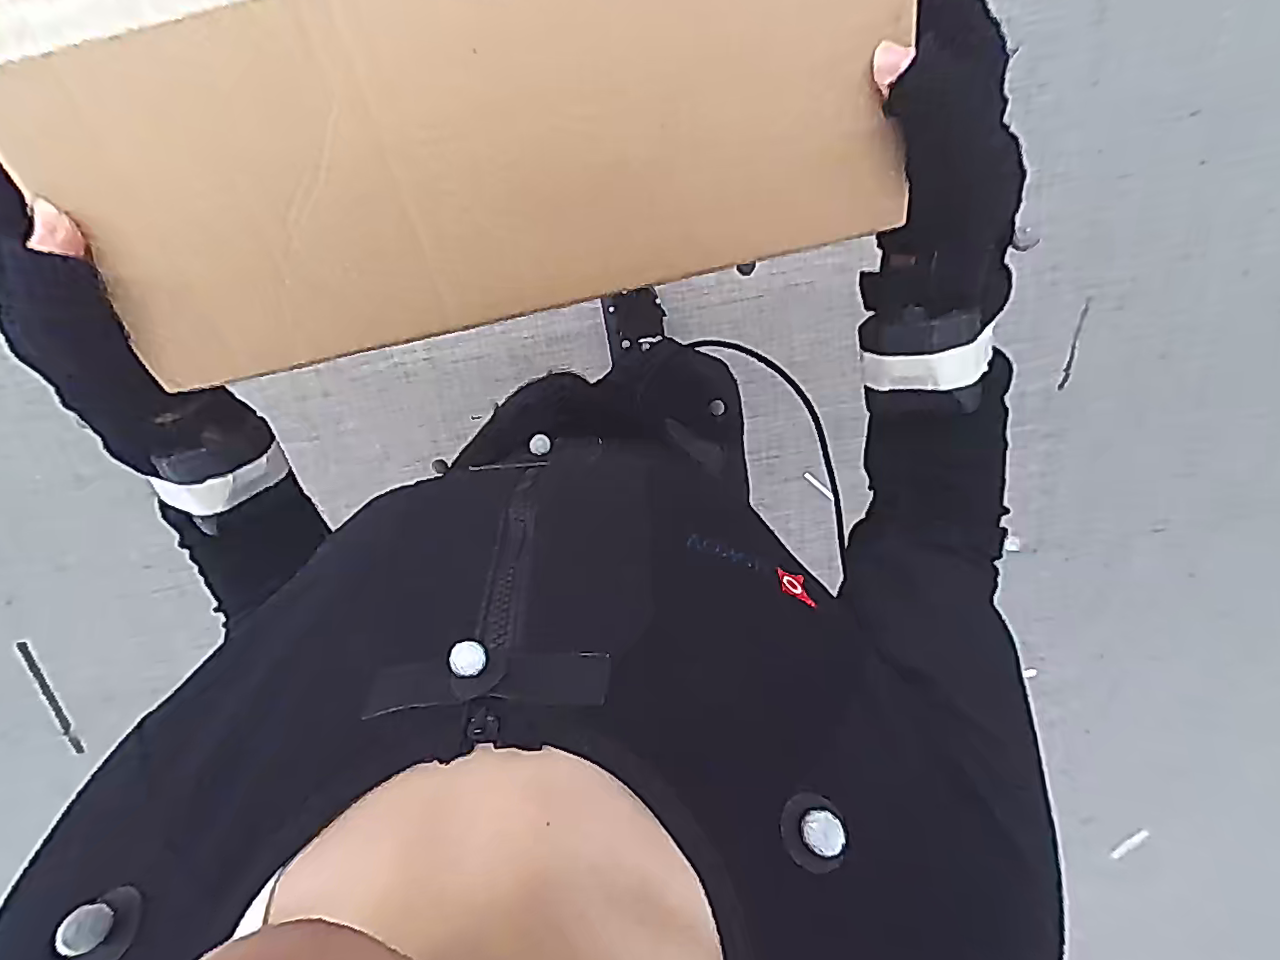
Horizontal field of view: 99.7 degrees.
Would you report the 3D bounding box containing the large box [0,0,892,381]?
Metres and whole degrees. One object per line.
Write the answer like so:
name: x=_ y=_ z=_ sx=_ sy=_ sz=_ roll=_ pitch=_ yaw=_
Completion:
large box: x=-0.103 y=-0.302 z=0.346 sx=0.408 sy=0.320 sz=0.320 roll=-12 pitch=119 yaw=4
